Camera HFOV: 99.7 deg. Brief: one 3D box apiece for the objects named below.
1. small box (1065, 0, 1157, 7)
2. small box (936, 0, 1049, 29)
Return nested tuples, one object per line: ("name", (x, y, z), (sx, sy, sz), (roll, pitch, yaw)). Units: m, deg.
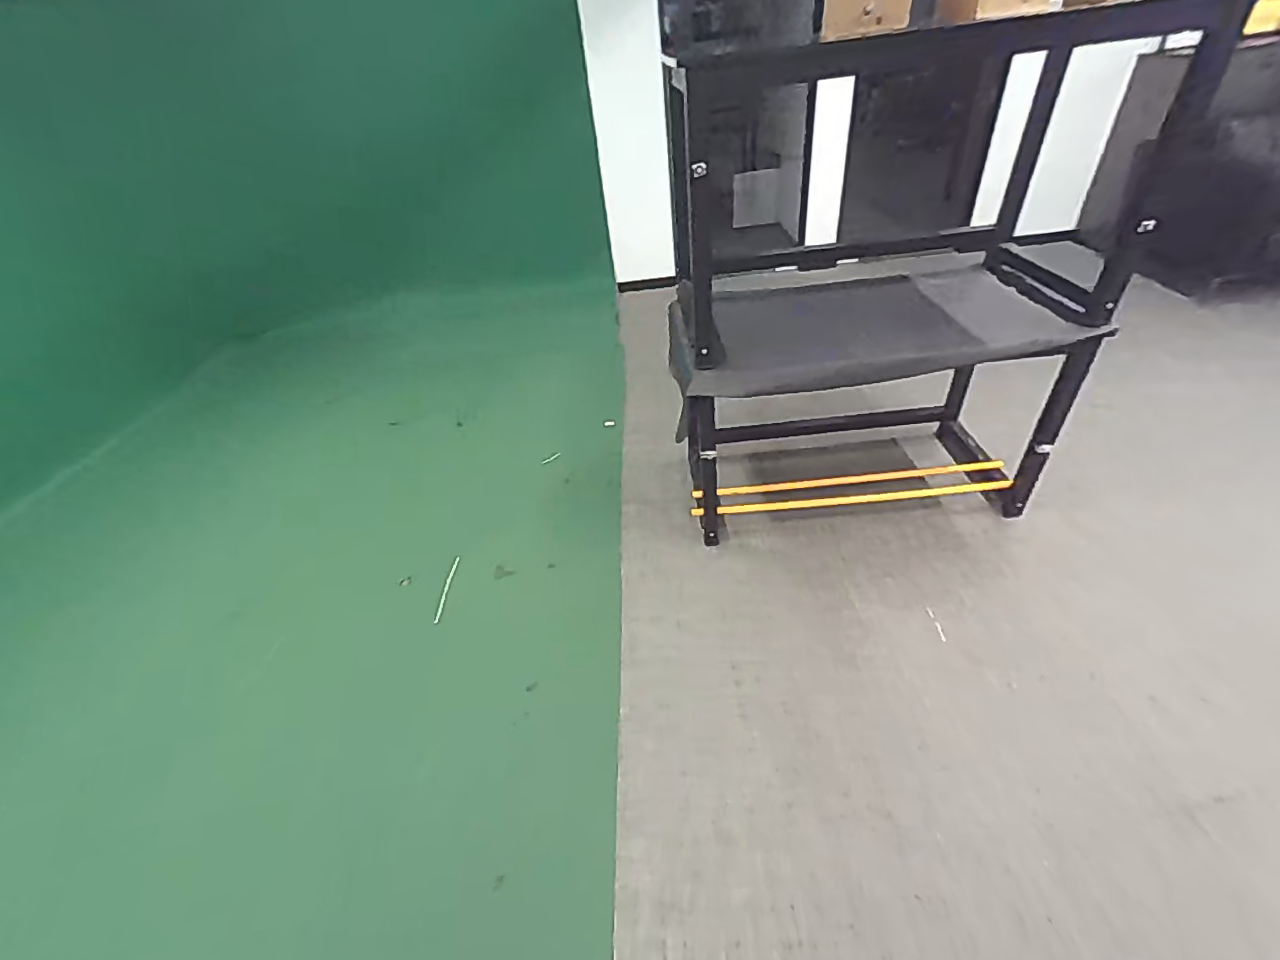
("small box", (1.074, -1.143, 1.168), (0.168, 0.176, 0.179), (-3, 40, 7))
("small box", (0.783, -1.107, 1.178), (0.168, 0.176, 0.179), (-9, 38, -1))
